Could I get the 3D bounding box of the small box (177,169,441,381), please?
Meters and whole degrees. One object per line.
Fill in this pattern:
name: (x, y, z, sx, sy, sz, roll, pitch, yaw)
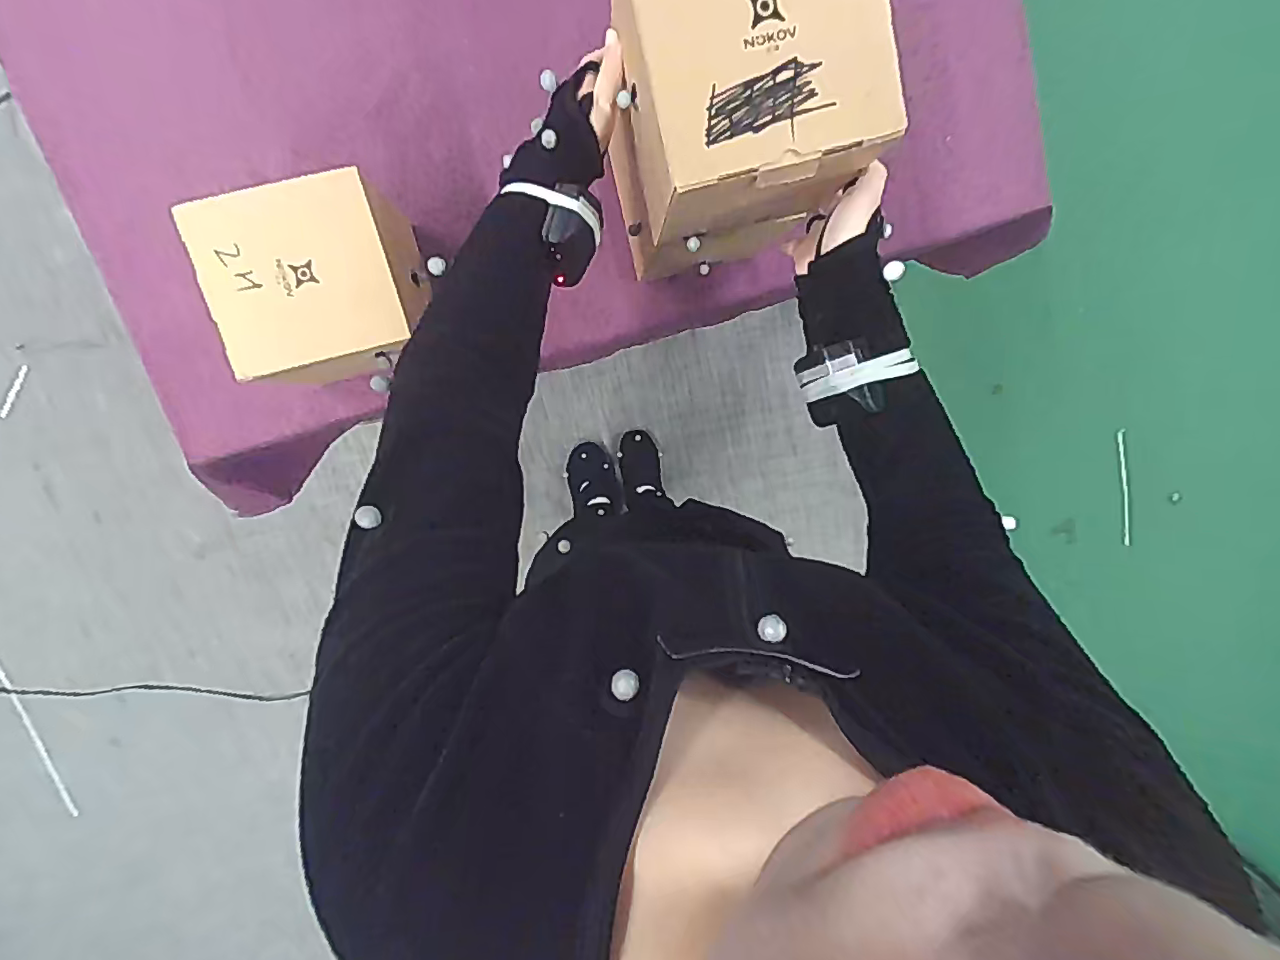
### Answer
small box: (-0.339, -0.212, 0.602, 0.179, 0.176, 0.168, -15, 100, -3)
